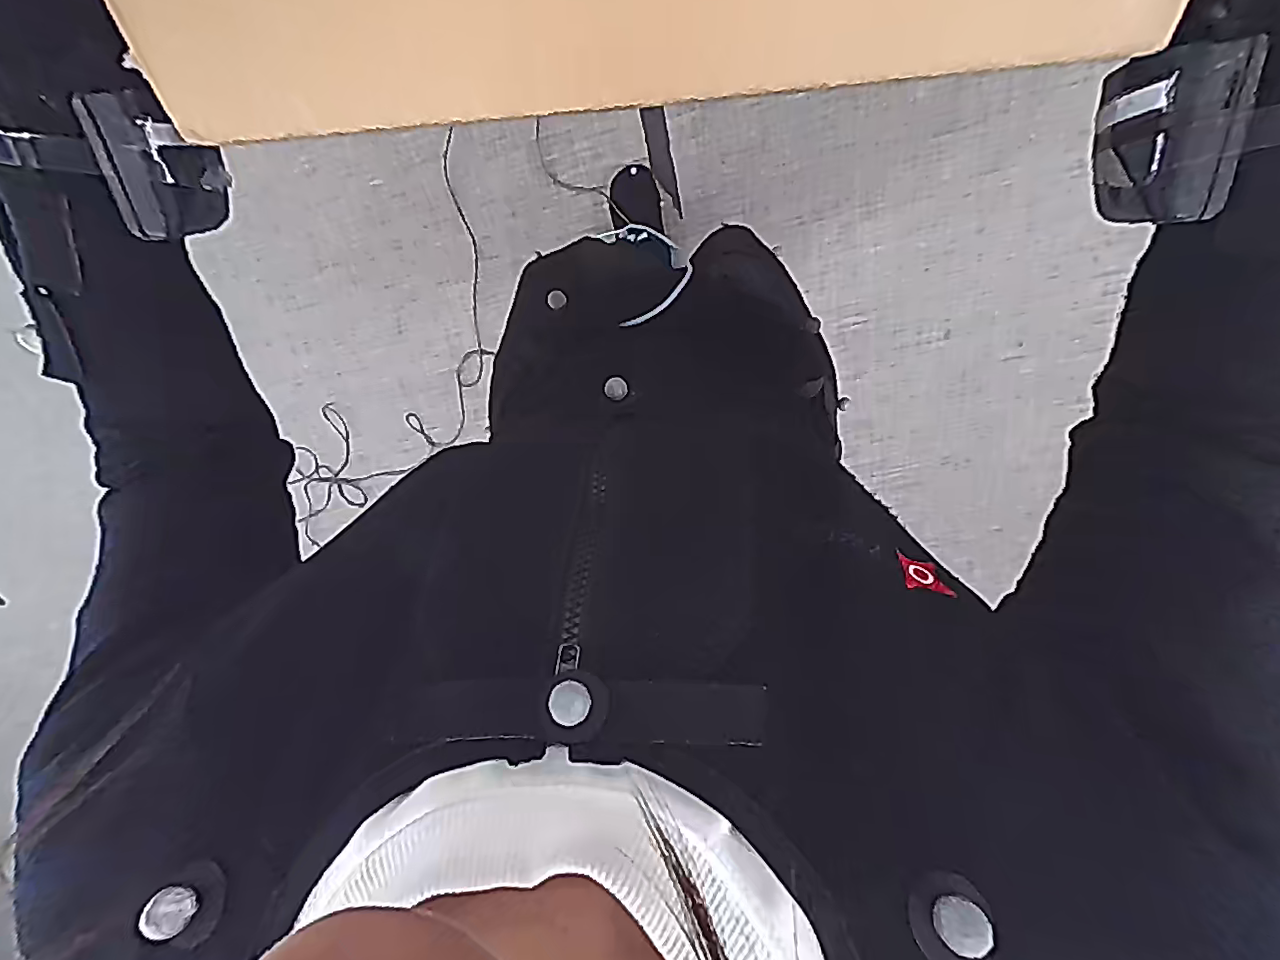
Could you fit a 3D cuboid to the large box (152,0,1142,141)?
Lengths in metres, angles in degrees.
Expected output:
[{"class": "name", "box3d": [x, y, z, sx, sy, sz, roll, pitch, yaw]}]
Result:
[{"class": "large box", "box3d": [-0.009, -0.381, 0.257, 0.408, 0.320, 0.320, -2, 129, 6]}]
